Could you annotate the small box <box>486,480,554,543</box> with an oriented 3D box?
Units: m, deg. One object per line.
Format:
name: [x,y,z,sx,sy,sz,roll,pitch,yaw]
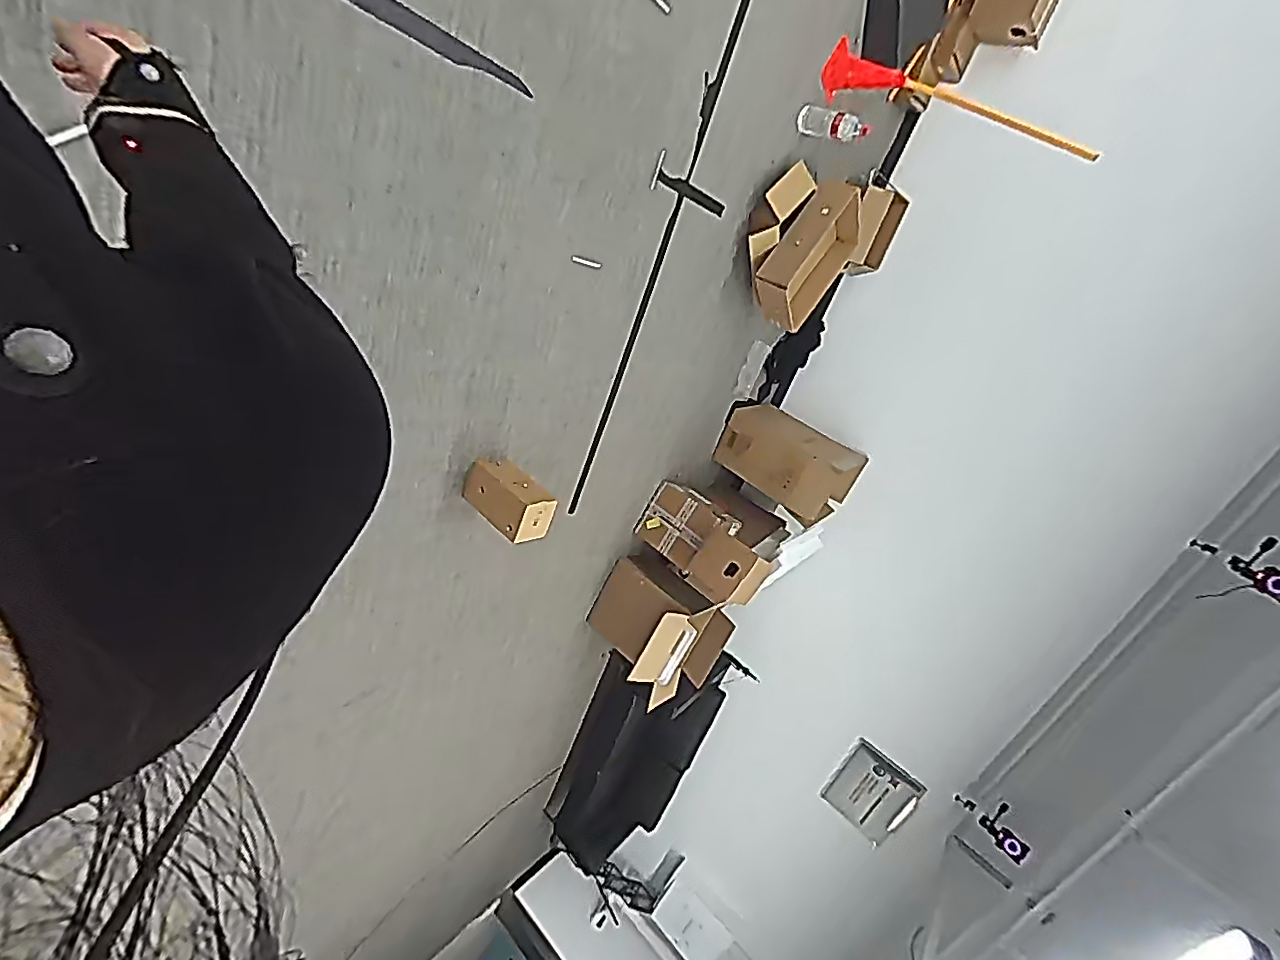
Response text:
small box: [-0.469,0.117,2.090,0.168,0.176,0.179,-8,126,-56]

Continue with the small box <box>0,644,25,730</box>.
small box: [-1.520,0.484,1.199,0.168,0.176,0.179,-17,135,-49]

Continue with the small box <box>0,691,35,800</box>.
small box: [-1.403,0.567,1.118,0.168,0.176,0.179,-16,134,-50]
